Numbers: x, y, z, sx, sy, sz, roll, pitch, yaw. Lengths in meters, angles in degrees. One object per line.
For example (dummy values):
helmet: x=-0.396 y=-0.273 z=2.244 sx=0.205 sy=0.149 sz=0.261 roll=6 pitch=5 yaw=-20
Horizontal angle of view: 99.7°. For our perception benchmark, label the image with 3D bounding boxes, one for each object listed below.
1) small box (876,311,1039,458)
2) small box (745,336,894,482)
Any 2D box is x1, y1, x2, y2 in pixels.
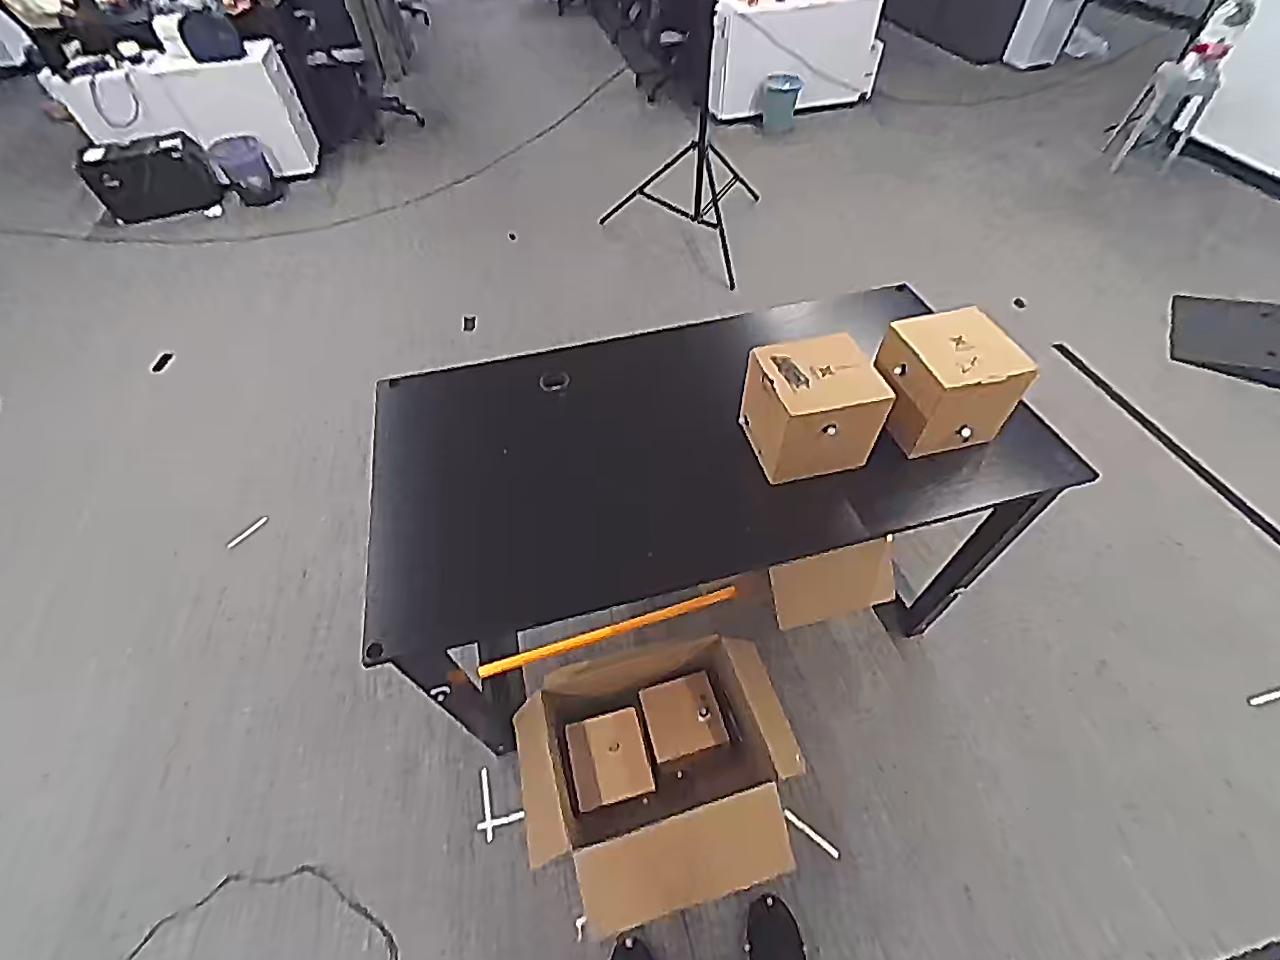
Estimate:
small box: x=0.526 y=-0.165 z=0.943 sx=0.168 sy=0.176 sz=0.179 roll=-12 pitch=52 yaw=-5
small box: x=0.286 y=-0.116 z=0.915 sx=0.179 sy=0.176 sz=0.168 roll=-11 pitch=53 yaw=-7
